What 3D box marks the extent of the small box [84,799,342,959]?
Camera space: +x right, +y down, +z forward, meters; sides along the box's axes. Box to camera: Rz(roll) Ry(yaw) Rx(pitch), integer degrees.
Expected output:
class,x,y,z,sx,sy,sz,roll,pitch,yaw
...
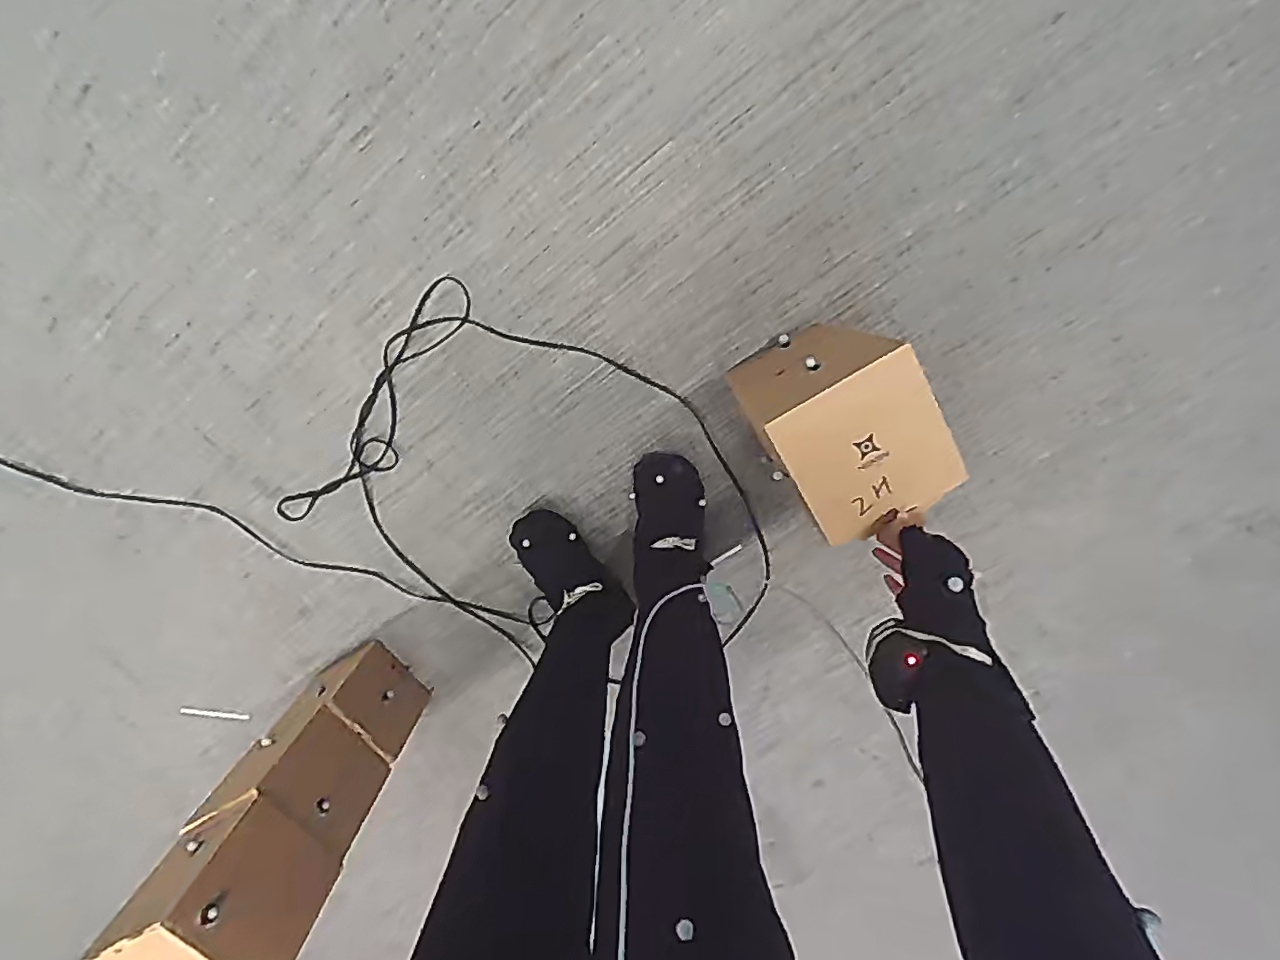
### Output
class,x,y,z,sx,sy,sz,roll,pitch,yaw
small box,-0.545,0.571,0.716,0.168,0.176,0.179,-31,106,12

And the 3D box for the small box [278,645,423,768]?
class,x,y,z,sx,sy,sz,roll,pitch,yaw
small box,-0.539,0.446,1.019,0.179,0.176,0.168,-32,106,12

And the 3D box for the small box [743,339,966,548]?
class,x,y,z,sx,sy,sz,roll,pitch,yaw
small box,0.242,-0.056,0.653,0.168,0.176,0.179,-30,108,11

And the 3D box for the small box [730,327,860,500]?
class,x,y,z,sx,sy,sz,roll,pitch,yaw
small box,0.248,-0.104,0.792,0.168,0.176,0.179,-28,108,10

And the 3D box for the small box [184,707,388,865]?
class,x,y,z,sx,sy,sz,roll,pitch,yaw
small box,-0.548,0.507,0.866,0.168,0.176,0.179,-31,106,12
